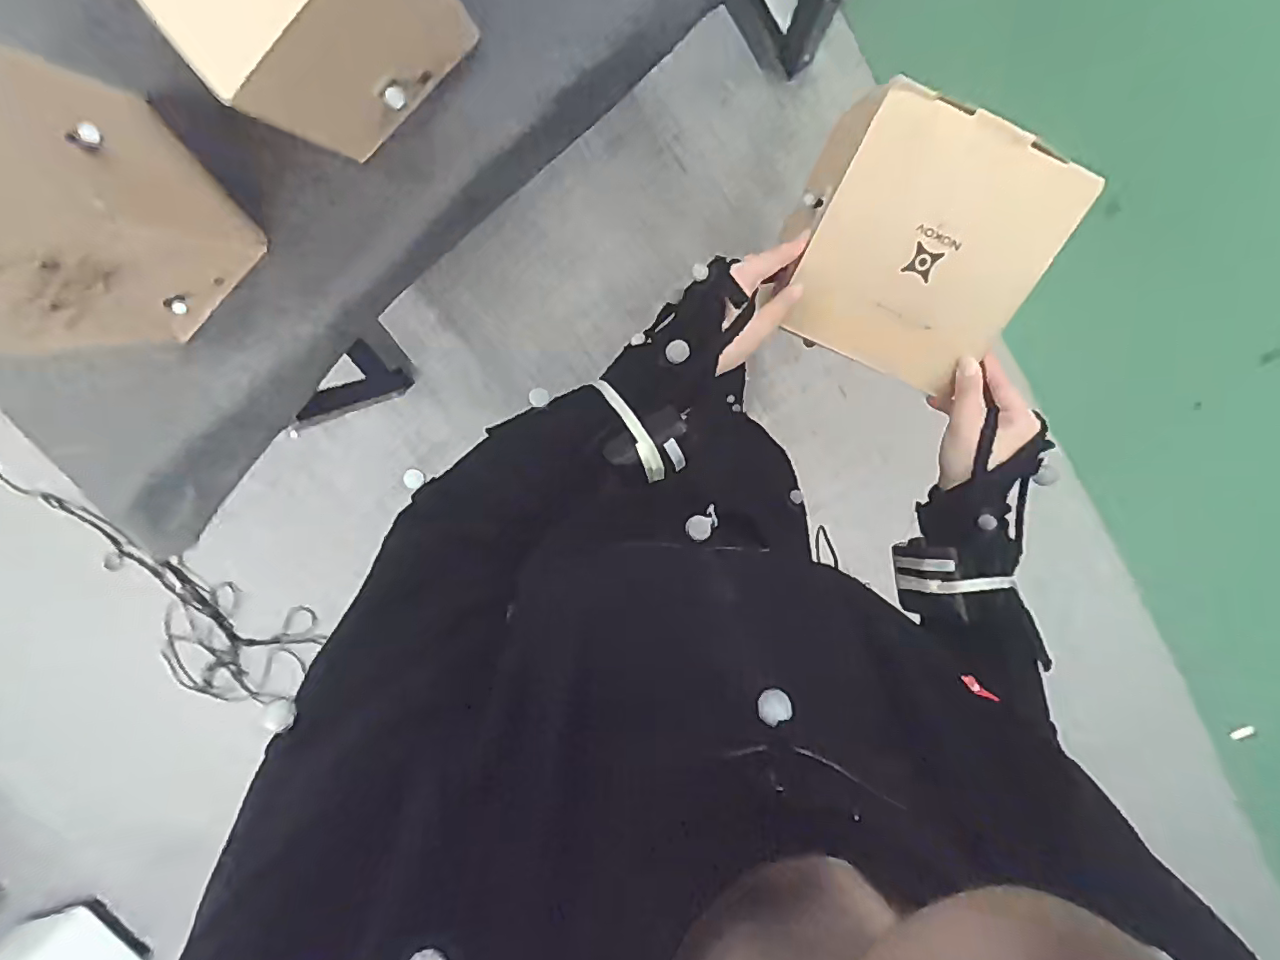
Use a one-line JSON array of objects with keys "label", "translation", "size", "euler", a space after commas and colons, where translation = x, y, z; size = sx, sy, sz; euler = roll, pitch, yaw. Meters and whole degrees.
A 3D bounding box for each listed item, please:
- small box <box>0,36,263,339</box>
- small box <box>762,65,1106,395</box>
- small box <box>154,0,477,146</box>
[{"label": "small box", "translation": [-0.507, -0.248, 0.489], "size": [0.168, 0.176, 0.179], "euler": [-36, 102, 15]}, {"label": "small box", "translation": [0.216, -0.203, 0.463], "size": [0.168, 0.176, 0.179], "euler": [22, 116, -4]}, {"label": "small box", "translation": [-0.262, -0.402, 0.412], "size": [0.168, 0.176, 0.179], "euler": [-34, 102, 15]}]
